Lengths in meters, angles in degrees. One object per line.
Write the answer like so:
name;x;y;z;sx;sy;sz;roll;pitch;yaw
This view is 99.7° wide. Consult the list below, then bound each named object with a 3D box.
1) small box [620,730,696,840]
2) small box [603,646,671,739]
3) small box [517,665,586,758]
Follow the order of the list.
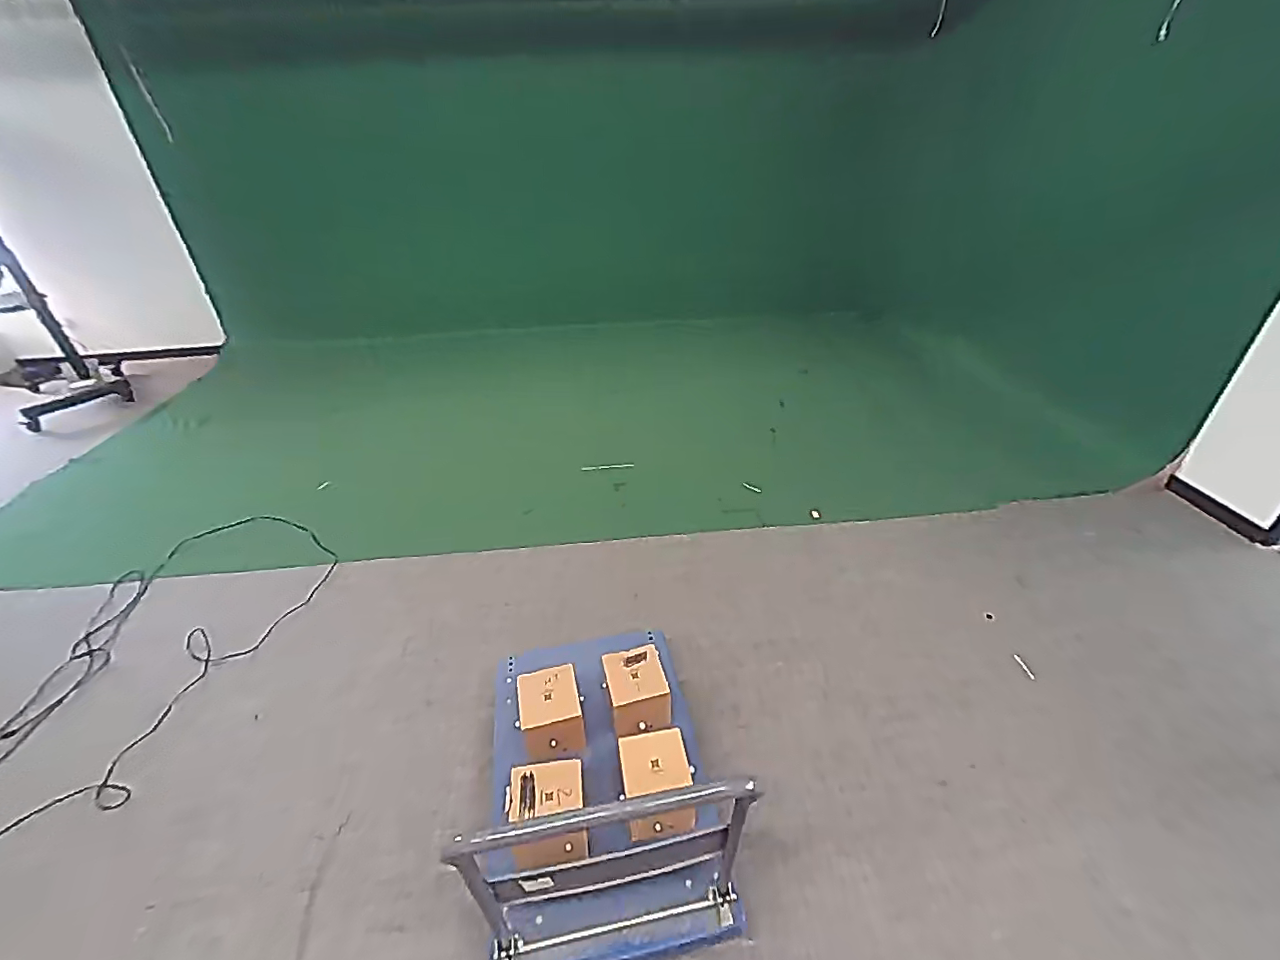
small box;0.041;0.778;1.383;0.168;0.176;0.179;-7;35;-7
small box;-0.010;0.627;1.602;0.168;0.176;0.179;-10;37;-10
small box;-0.254;0.670;1.553;0.168;0.176;0.179;-9;35;-11
